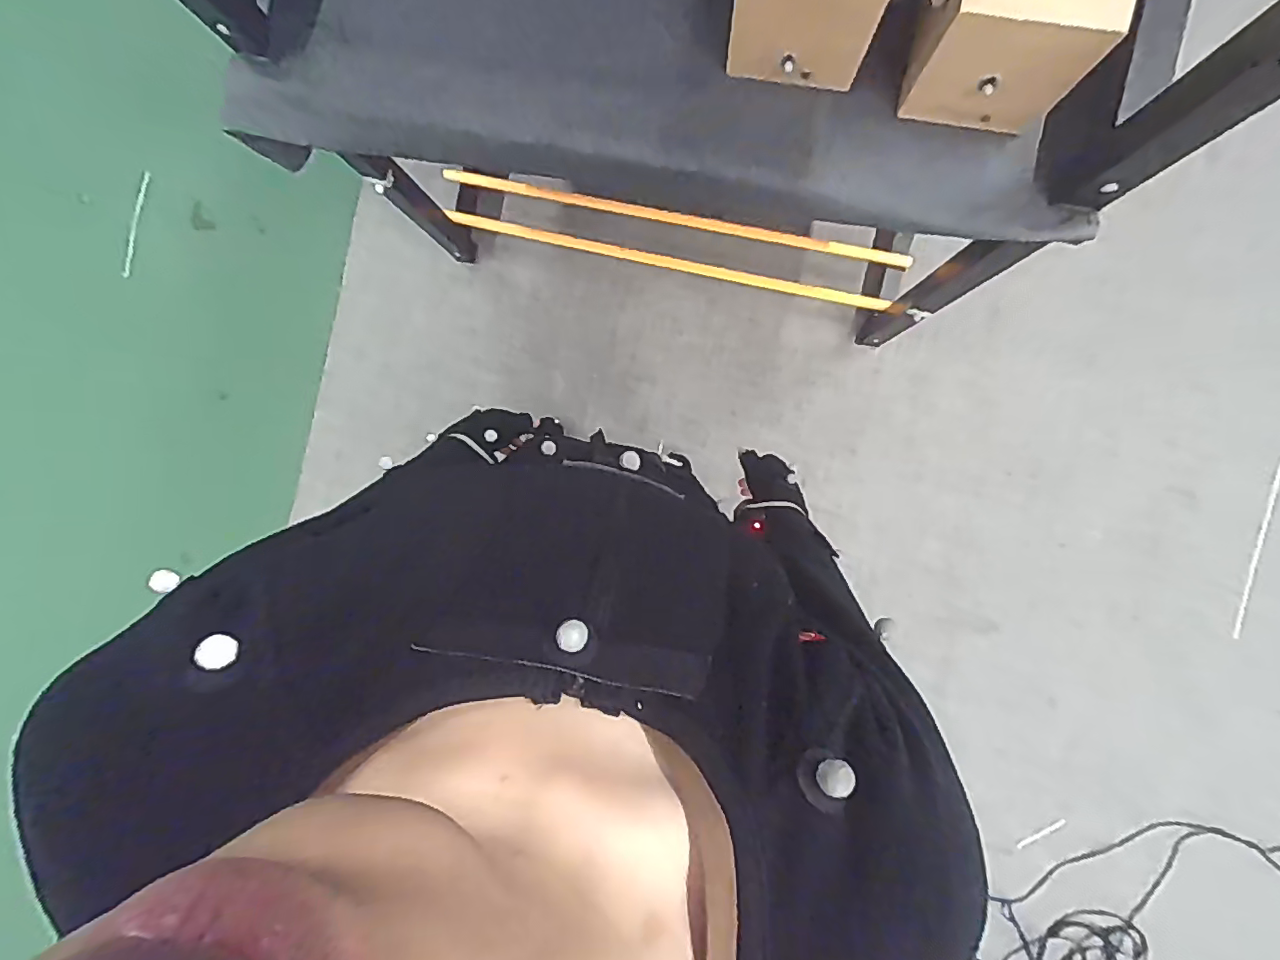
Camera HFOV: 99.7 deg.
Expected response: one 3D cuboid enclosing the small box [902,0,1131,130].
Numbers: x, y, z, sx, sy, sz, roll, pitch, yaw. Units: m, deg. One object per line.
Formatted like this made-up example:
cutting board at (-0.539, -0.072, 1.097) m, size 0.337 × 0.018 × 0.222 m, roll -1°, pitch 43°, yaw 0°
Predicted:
small box at (0.426, -0.545, 0.622) m, size 0.168 × 0.176 × 0.179 m, roll 11°, pitch 92°, yaw 4°
